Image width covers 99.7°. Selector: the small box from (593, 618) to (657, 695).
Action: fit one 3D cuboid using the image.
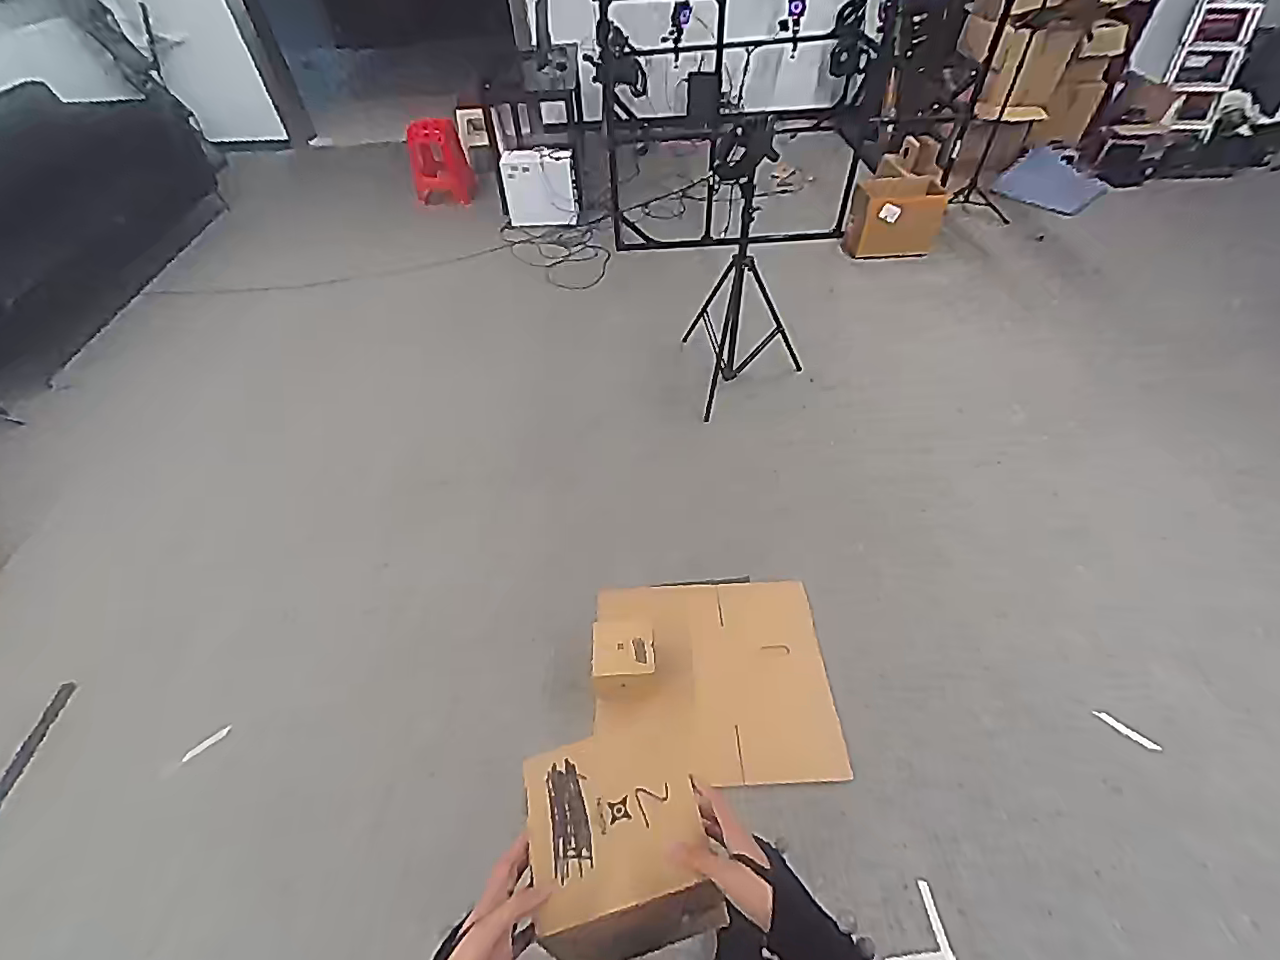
[{"bbox_3d":[-0.040,0.521,1.591,0.179,0.176,0.168,-3,49,1],"label":"small box"}]
